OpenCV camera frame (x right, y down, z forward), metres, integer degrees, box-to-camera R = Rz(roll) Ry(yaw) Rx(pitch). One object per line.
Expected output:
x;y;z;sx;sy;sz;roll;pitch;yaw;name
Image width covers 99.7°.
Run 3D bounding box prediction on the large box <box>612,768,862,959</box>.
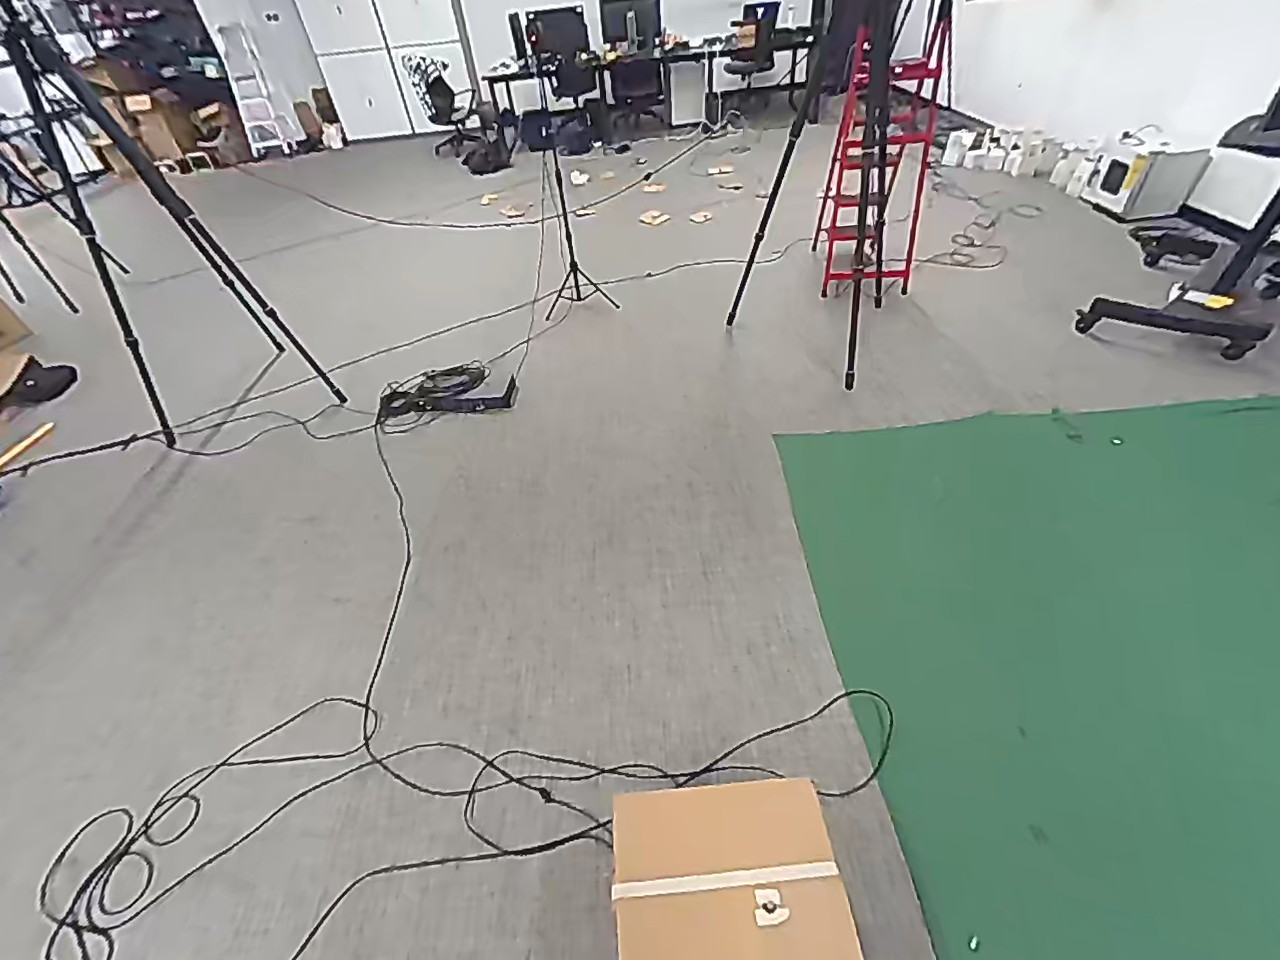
0.160;0.814;1.081;0.408;0.320;0.320;-5;45;-1;large box
